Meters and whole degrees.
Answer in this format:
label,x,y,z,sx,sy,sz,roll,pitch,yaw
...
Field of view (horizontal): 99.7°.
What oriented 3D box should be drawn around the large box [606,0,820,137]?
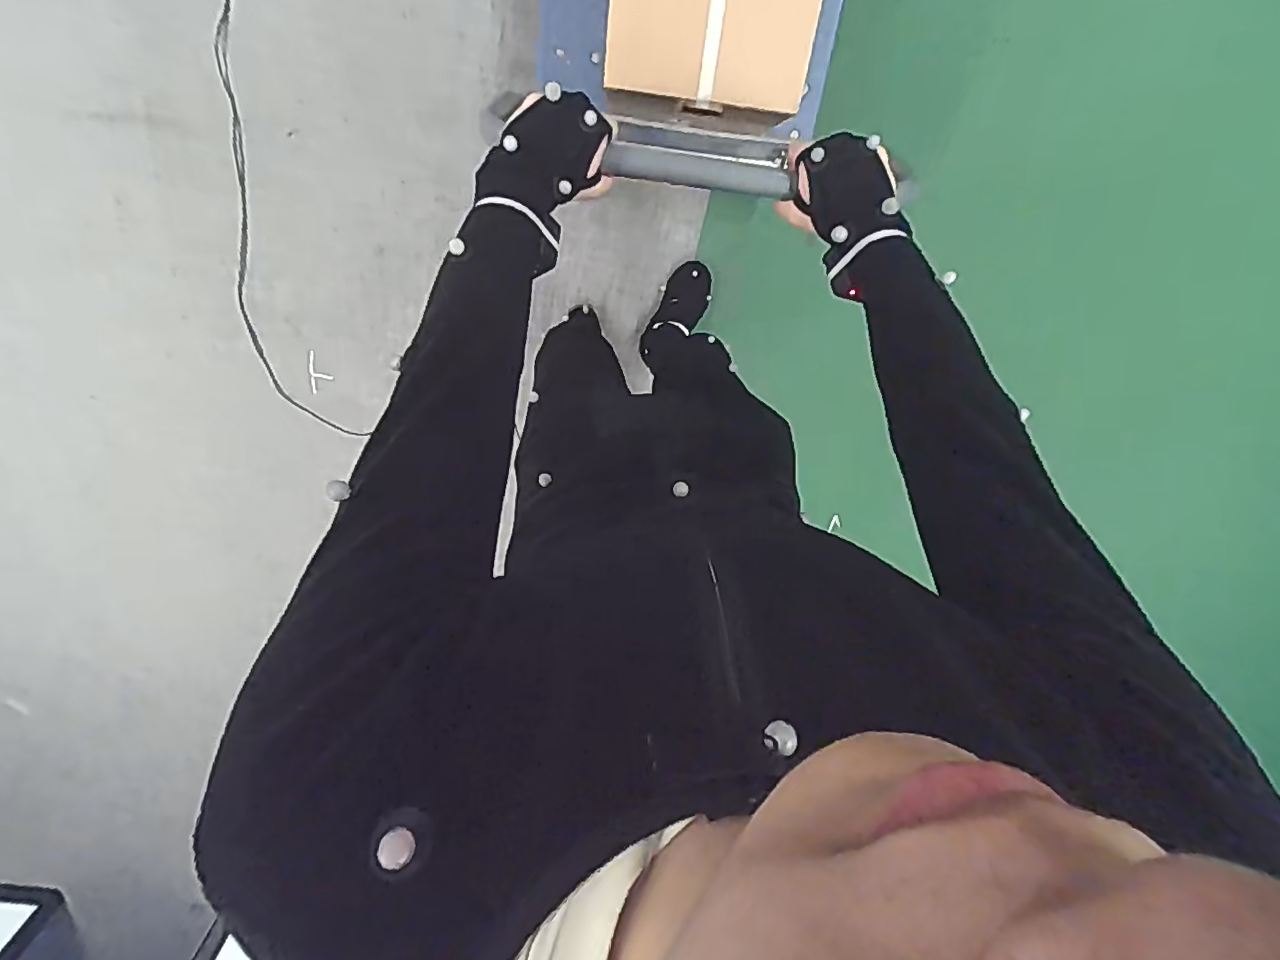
label,x,y,z,sx,sy,sz,roll,pitch,yaw
large box,0.120,-0.837,0.901,0.320,0.320,0.408,6,116,-4
